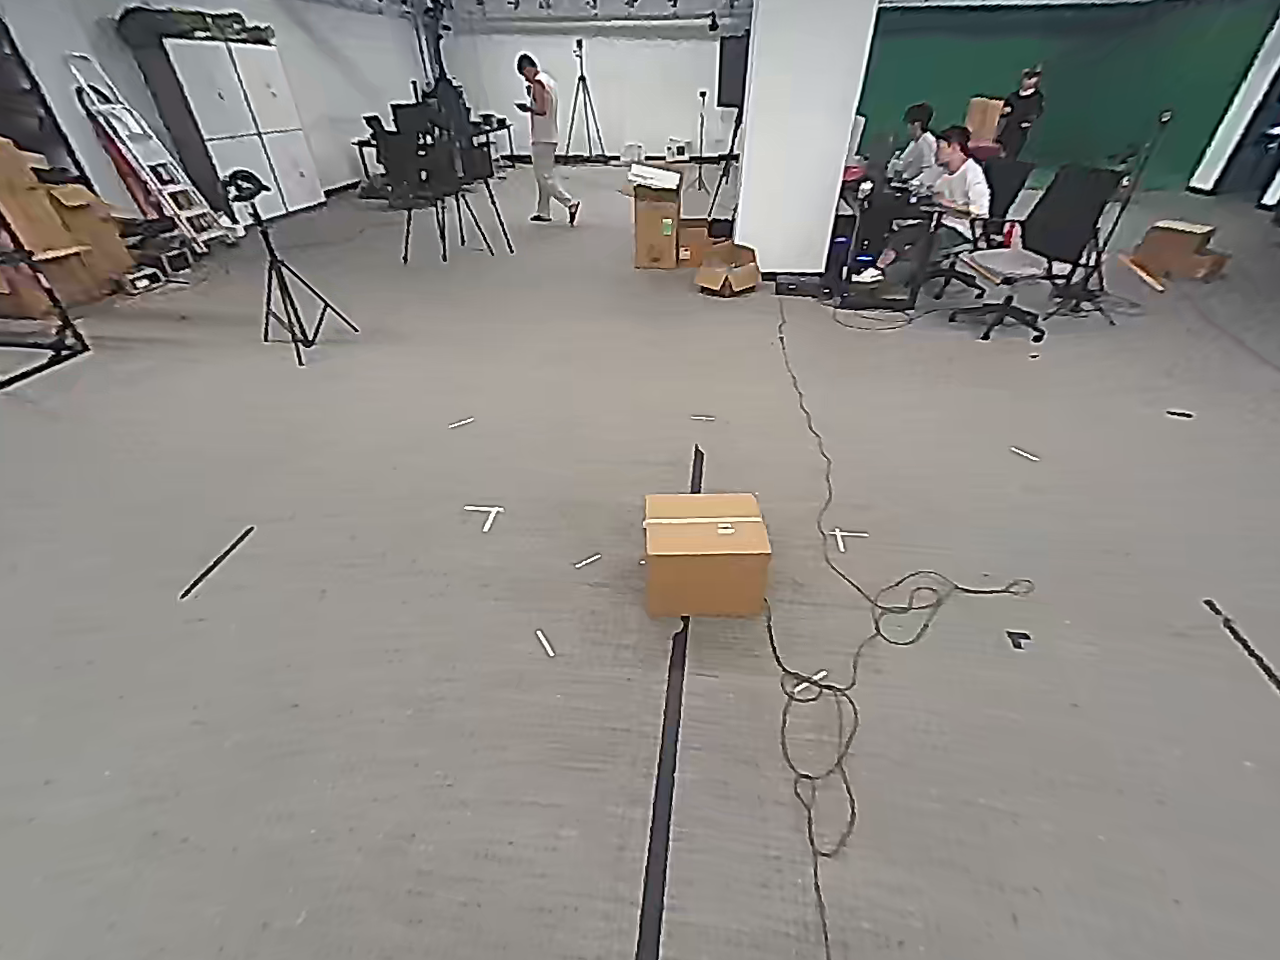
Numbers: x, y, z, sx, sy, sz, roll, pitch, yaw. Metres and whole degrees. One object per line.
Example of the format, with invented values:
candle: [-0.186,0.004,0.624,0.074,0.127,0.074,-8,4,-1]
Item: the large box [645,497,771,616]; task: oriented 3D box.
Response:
large box: [0.223,0.273,1.942,0.408,0.320,0.320,0,36,0]
